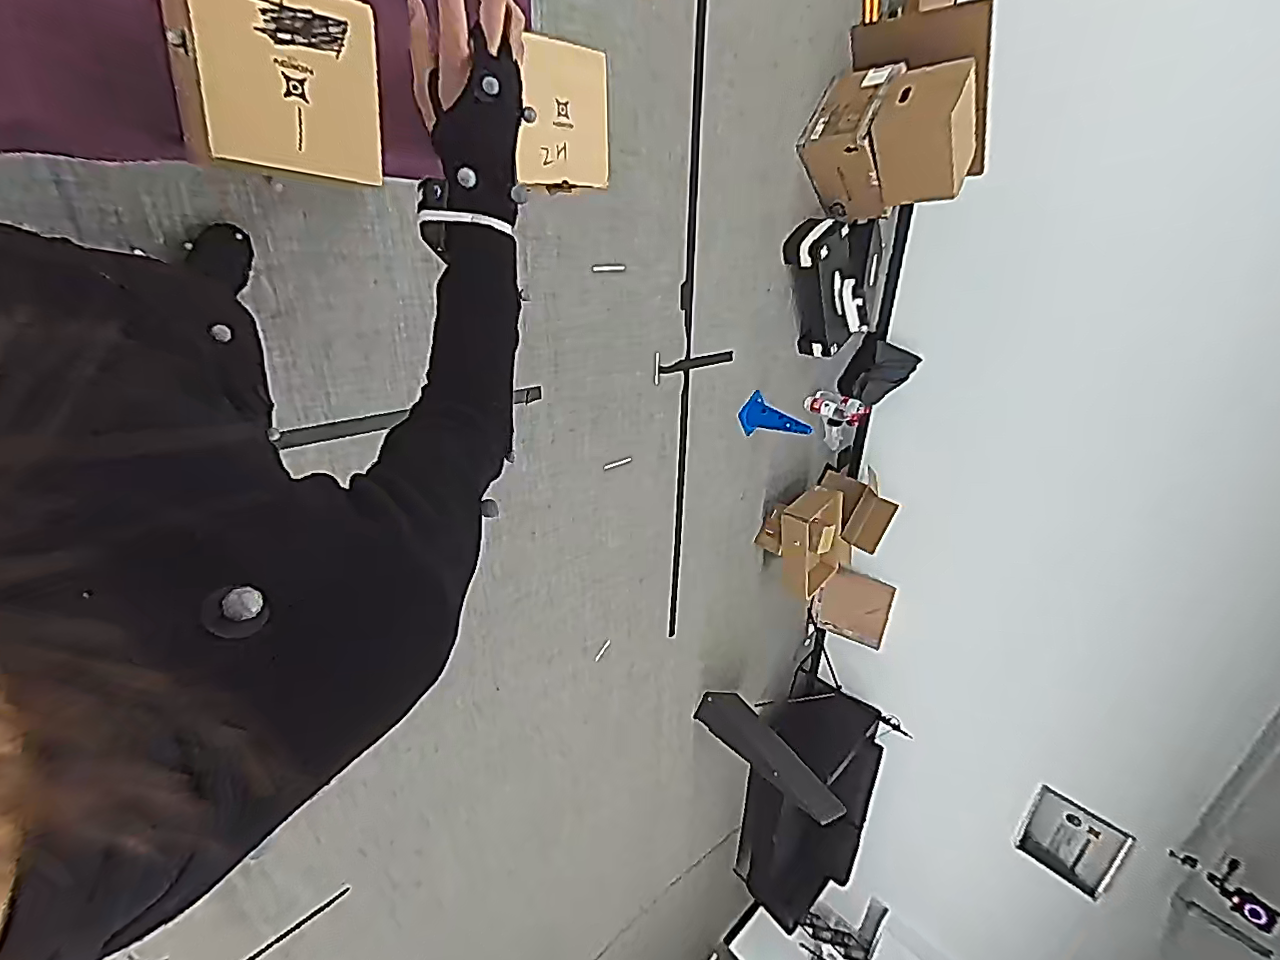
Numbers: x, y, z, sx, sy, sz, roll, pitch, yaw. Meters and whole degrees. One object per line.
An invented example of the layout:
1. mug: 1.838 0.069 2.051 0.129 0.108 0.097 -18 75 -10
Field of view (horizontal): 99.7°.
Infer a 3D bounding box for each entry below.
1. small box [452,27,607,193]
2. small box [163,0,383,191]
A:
1. small box: -0.166 -0.538 0.816 0.168 0.176 0.179 -21 123 -37
2. small box: -0.411 -0.439 0.612 0.168 0.176 0.179 -14 120 -42
